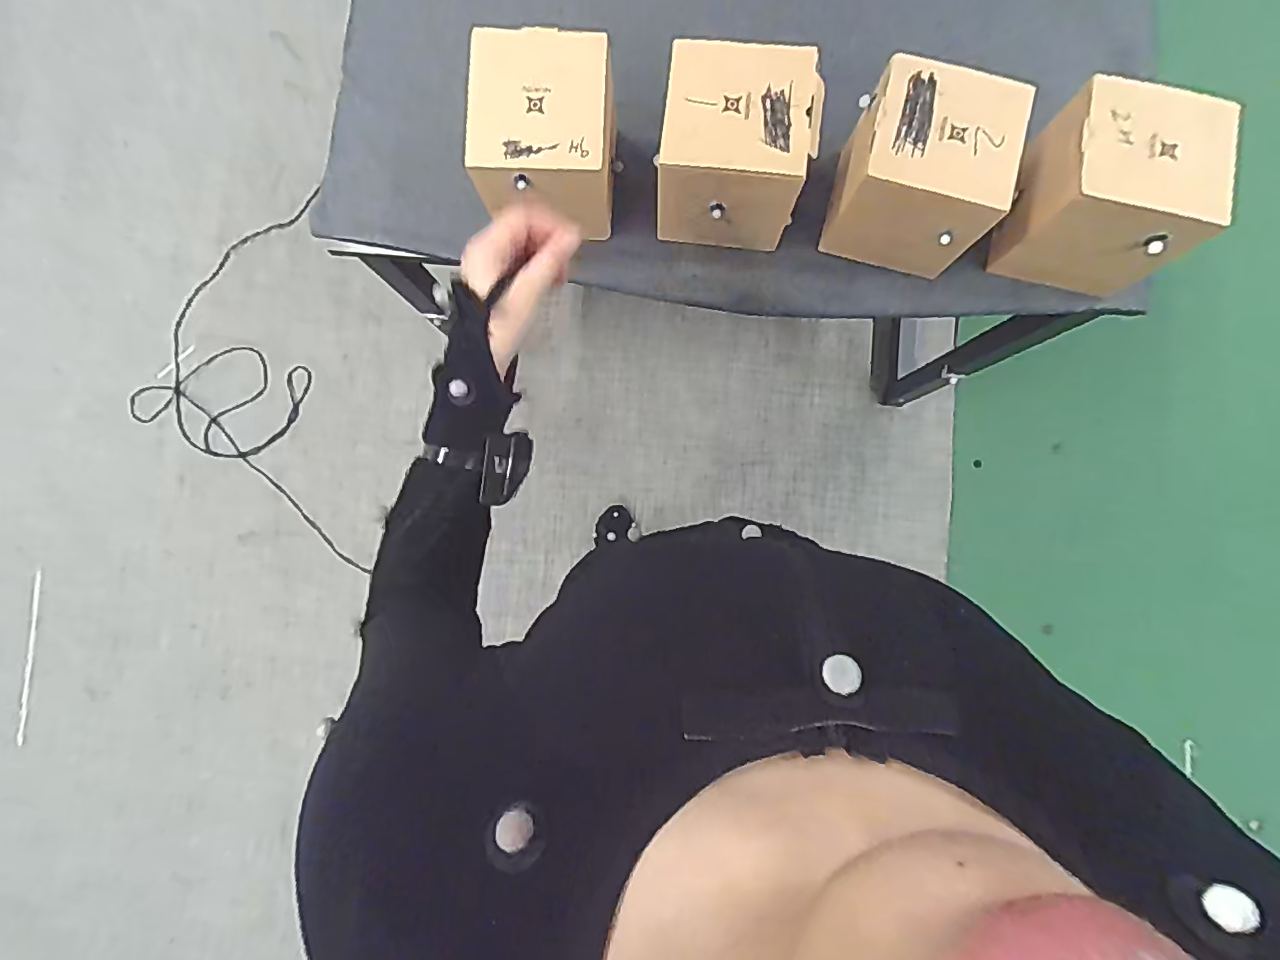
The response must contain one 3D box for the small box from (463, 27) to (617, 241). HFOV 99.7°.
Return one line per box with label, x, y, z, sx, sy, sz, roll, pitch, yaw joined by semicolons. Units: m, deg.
small box;-0.121;-0.449;0.722;0.168;0.176;0.179;3;86;2
